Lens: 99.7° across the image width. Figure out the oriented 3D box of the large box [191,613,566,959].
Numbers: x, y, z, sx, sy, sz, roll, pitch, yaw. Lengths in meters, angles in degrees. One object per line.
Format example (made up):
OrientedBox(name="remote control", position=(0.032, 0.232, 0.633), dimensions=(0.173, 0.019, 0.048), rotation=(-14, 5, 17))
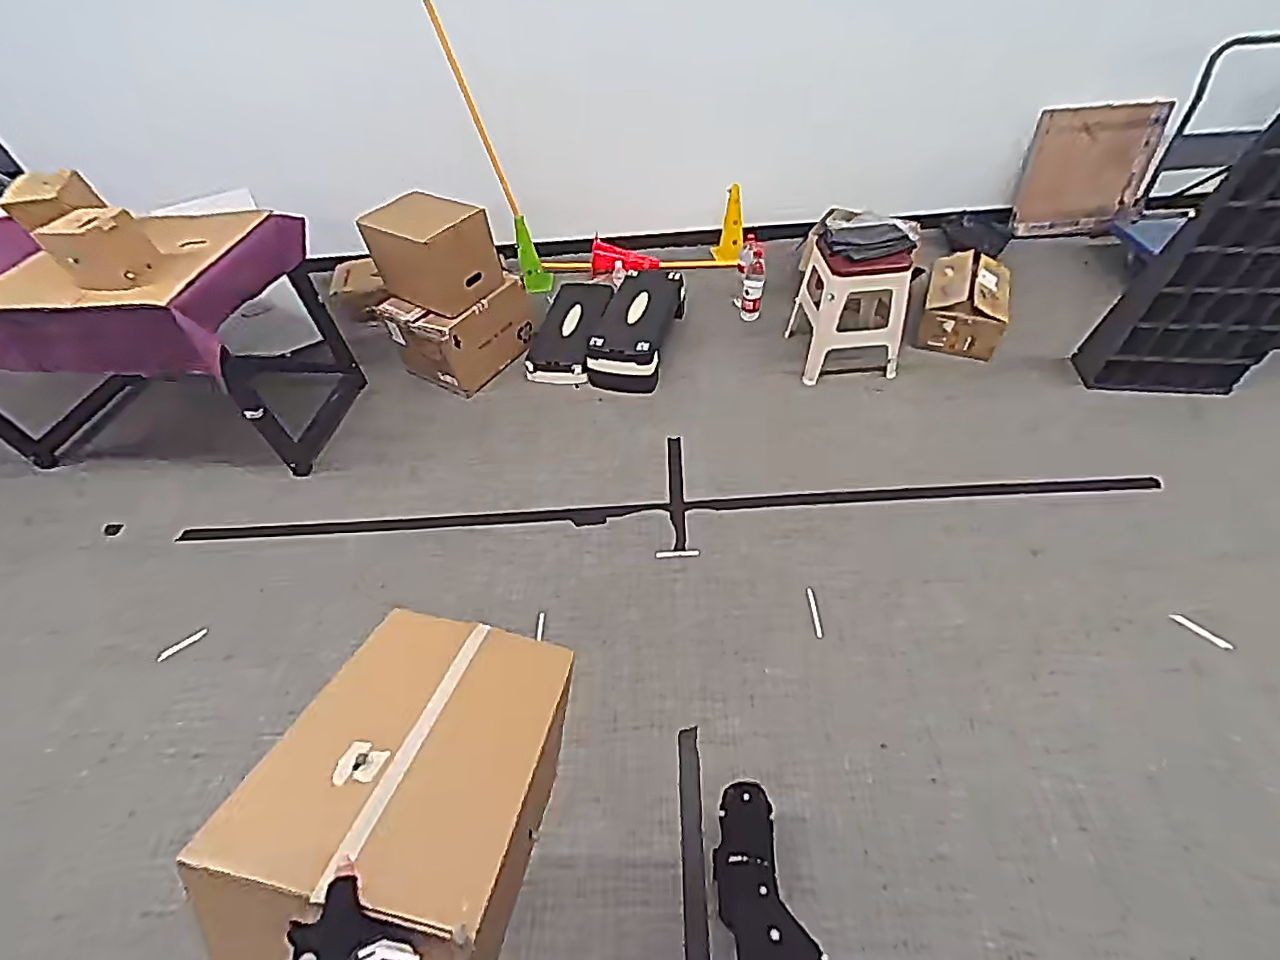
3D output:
OrientedBox(name="large box", position=(-0.319, 0.469, 0.791), dimensions=(0.320, 0.320, 0.408), rotation=(12, 27, 3))
